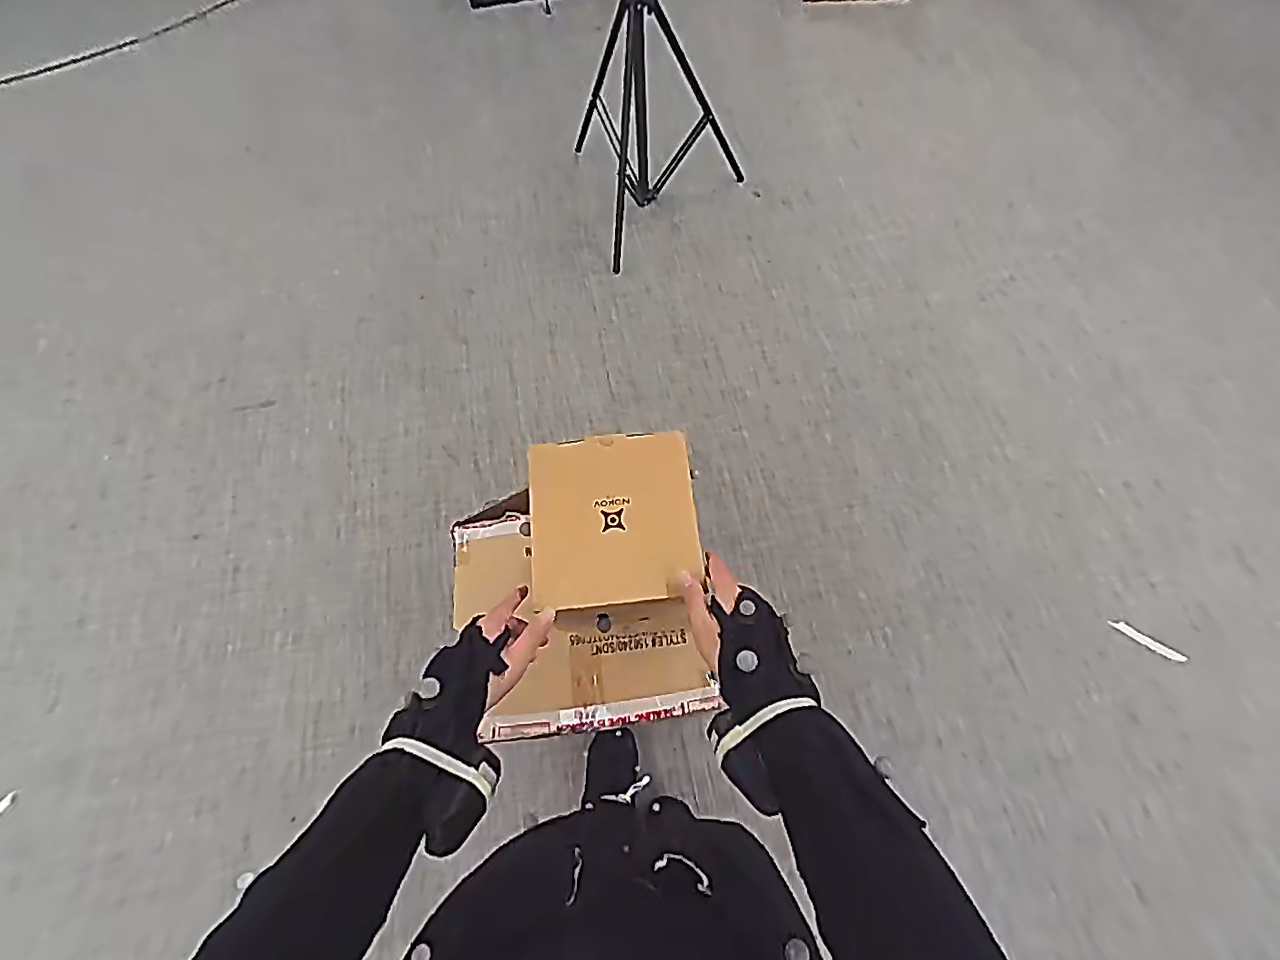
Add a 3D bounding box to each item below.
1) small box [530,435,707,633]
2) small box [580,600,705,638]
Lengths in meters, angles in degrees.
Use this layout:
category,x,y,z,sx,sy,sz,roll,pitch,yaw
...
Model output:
category,x,y,z,sx,sy,sz,roll,pitch,yaw
small box,-0.023,0.071,0.607,0.168,0.176,0.179,-7,67,-2
small box,-0.010,0.126,0.760,0.179,0.176,0.168,-4,68,-1
